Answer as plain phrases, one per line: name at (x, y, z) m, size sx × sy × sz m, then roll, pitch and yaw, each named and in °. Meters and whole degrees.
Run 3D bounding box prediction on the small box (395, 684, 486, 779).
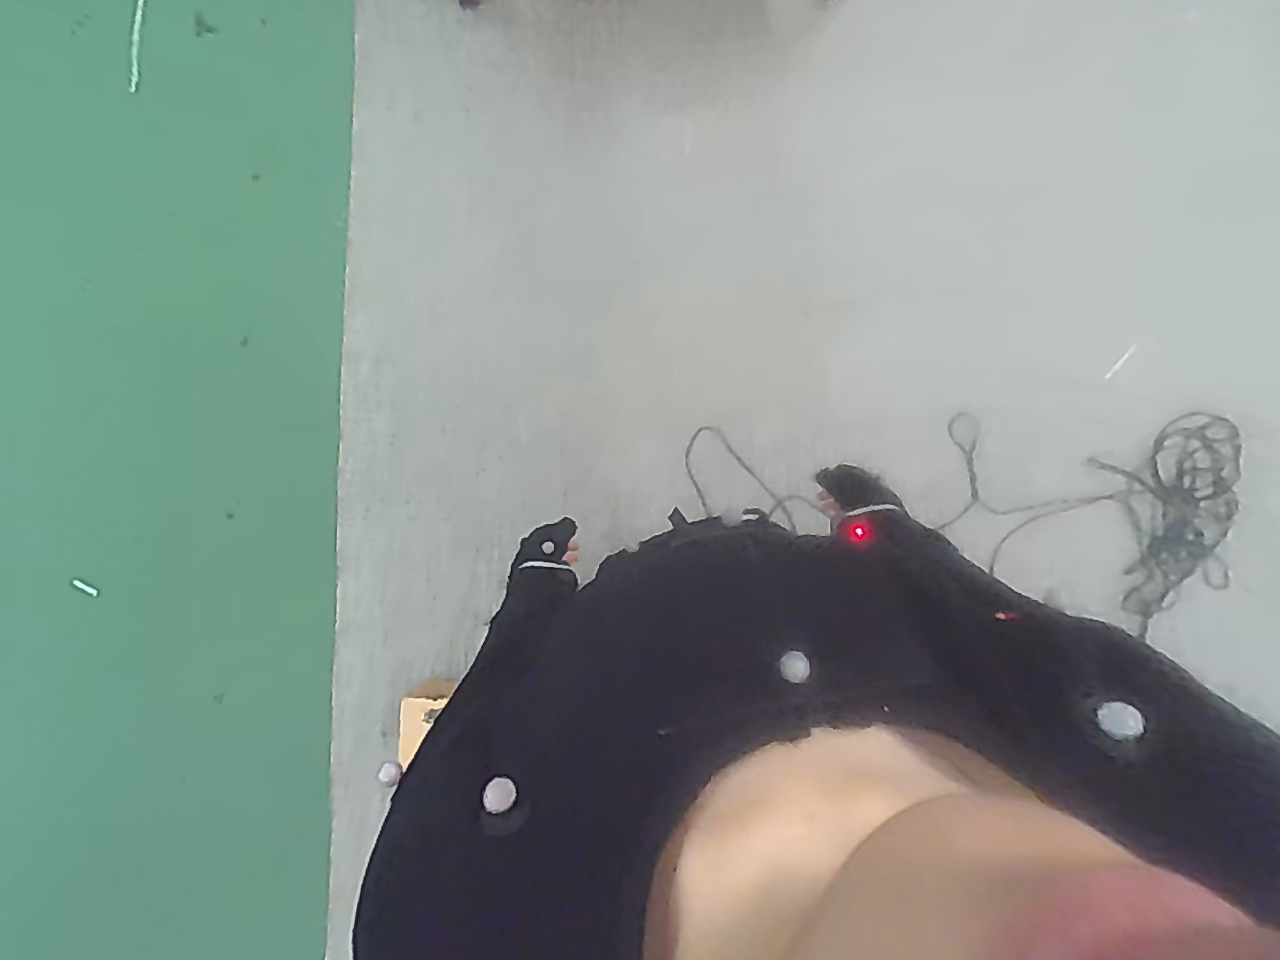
small box at (-0.494, 0.624, 1.360) m, size 0.168 × 0.176 × 0.179 m, roll 1°, pitch 85°, yaw 0°
